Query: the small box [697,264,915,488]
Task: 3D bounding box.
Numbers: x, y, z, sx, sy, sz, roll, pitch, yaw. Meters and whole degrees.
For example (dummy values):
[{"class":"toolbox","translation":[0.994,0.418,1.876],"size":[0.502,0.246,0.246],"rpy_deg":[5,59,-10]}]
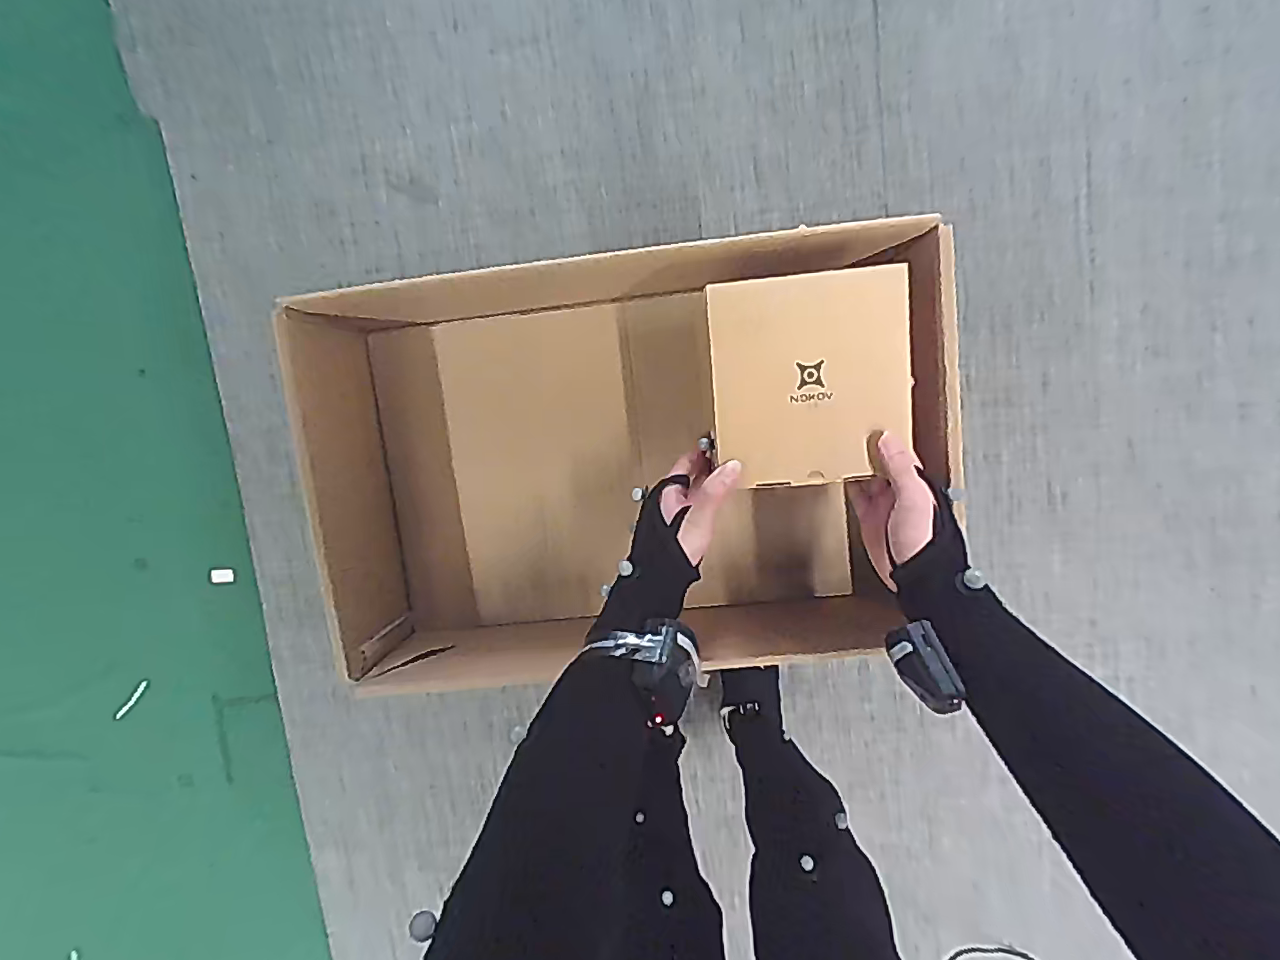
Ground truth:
[{"class":"small box","translation":[0.148,-0.094,0.531],"size":[0.168,0.176,0.179],"rpy_deg":[-5,98,3]}]
